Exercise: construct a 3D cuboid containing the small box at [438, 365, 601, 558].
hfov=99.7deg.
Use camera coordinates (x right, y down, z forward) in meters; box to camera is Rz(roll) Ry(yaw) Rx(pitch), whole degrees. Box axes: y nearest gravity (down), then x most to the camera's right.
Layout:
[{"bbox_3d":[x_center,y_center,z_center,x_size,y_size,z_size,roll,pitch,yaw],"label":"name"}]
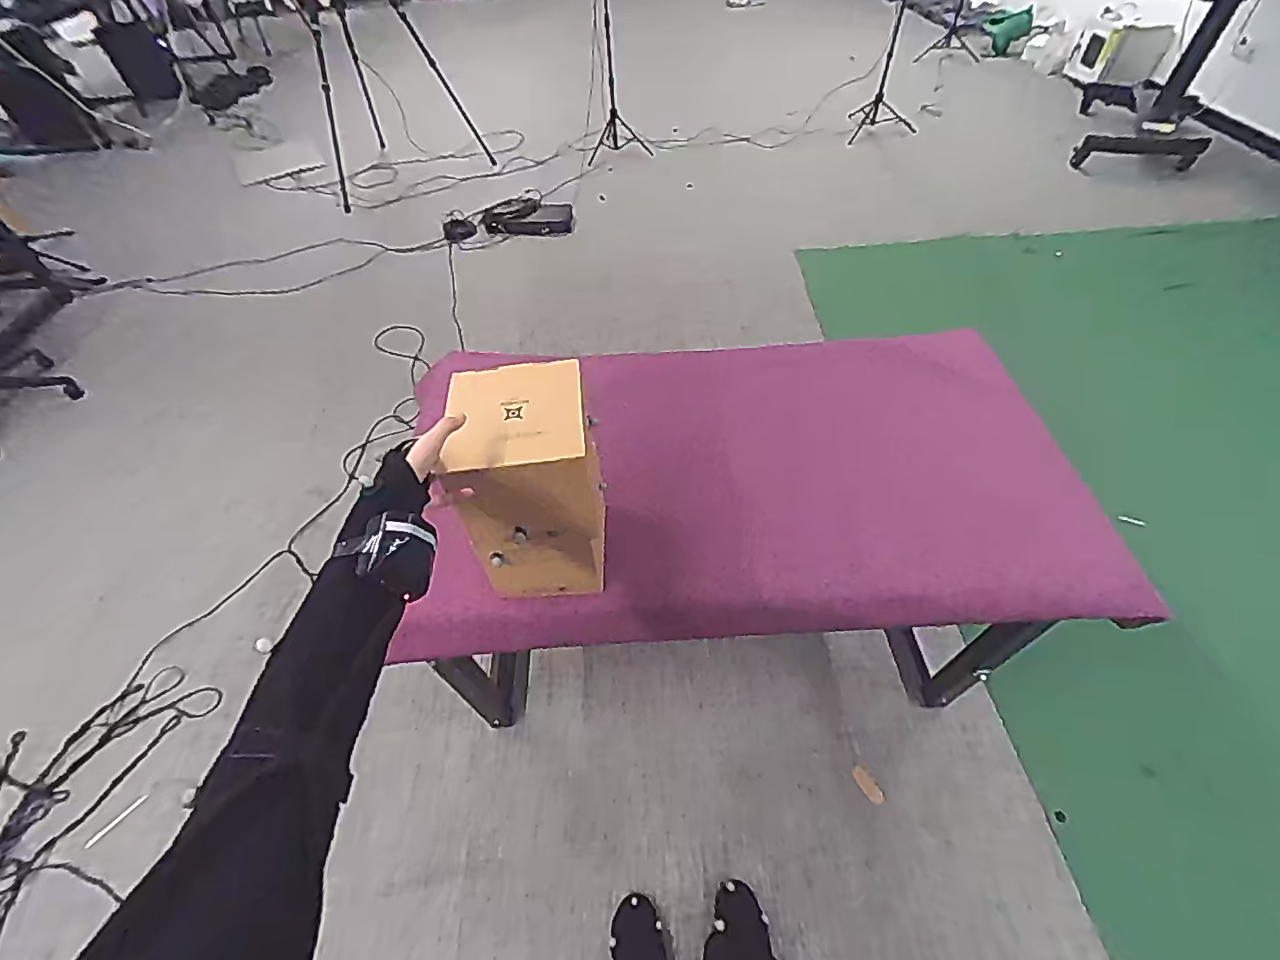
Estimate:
[{"bbox_3d":[-0.142,-0.023,0.697,0.168,0.176,0.179,-7,50,-2],"label":"small box"}]
